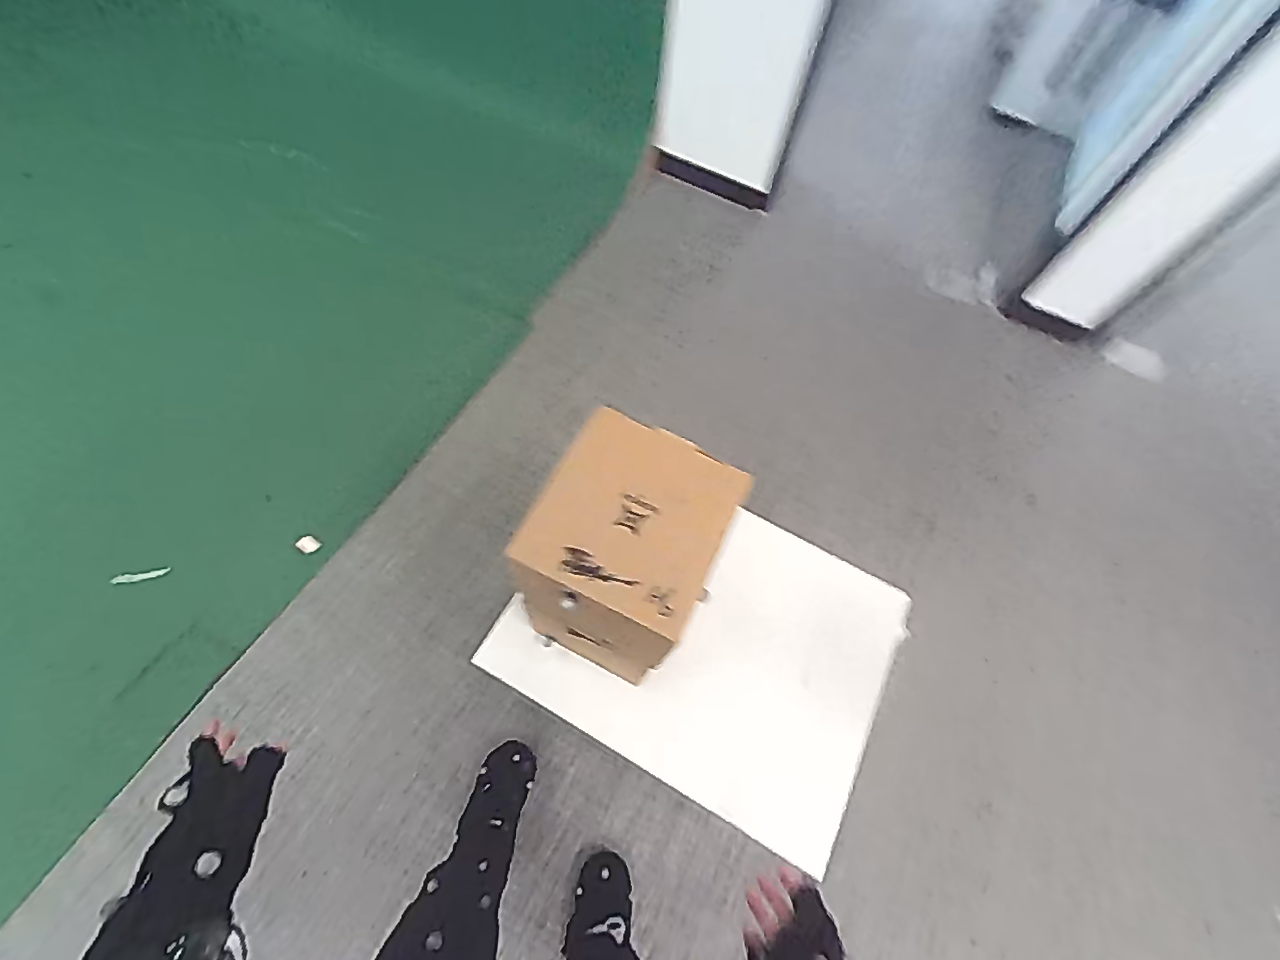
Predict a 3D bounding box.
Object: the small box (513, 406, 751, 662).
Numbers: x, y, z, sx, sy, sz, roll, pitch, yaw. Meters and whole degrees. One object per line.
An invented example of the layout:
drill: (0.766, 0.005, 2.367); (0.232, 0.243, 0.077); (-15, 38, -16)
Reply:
small box: (-0.010, 0.063, 0.560); (0.168, 0.176, 0.179); (26, 63, 8)

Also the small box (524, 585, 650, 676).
small box: (-0.028, 0.134, 0.705); (0.168, 0.176, 0.179); (26, 63, 8)
